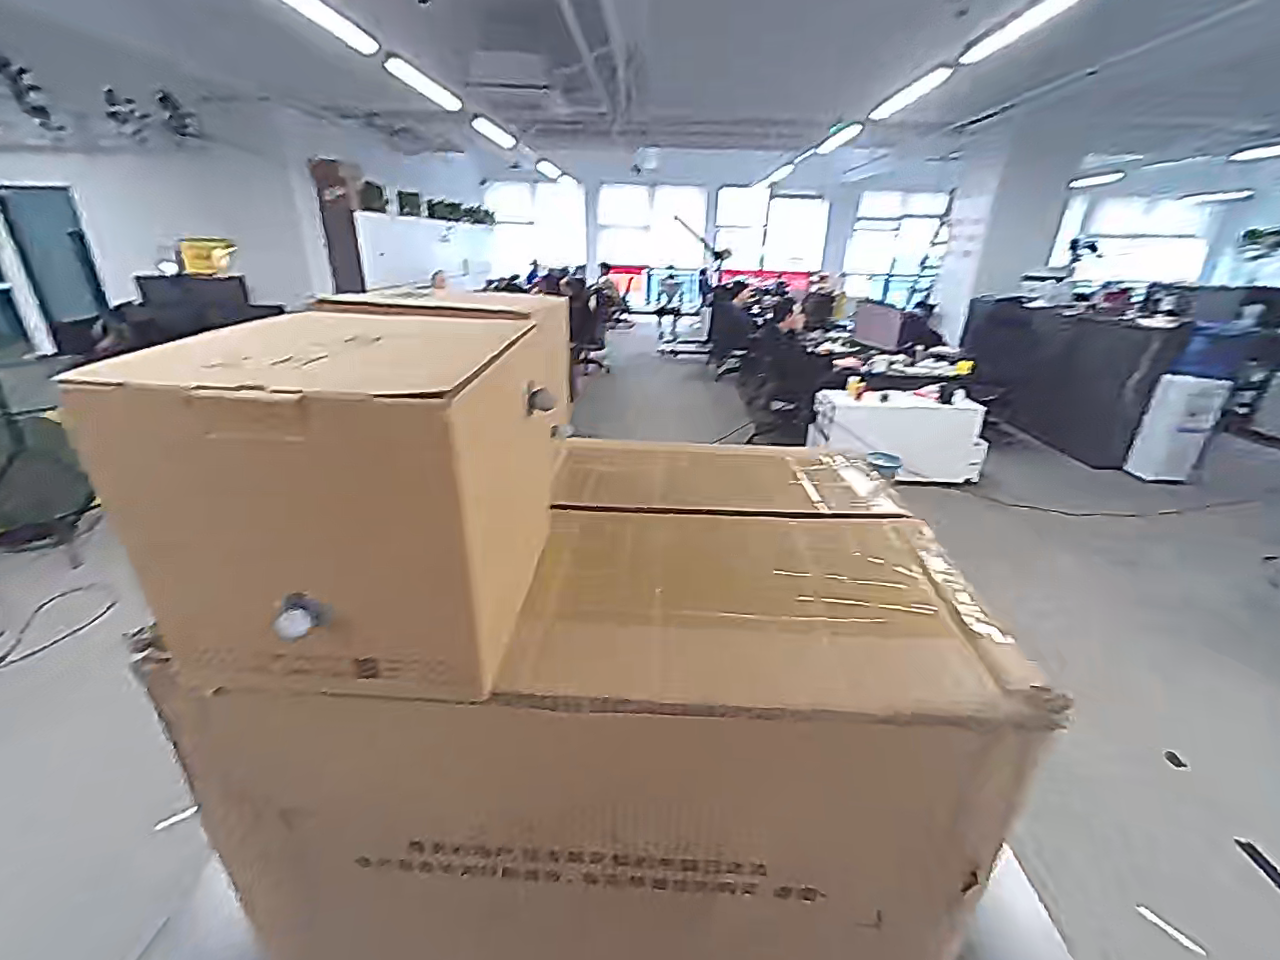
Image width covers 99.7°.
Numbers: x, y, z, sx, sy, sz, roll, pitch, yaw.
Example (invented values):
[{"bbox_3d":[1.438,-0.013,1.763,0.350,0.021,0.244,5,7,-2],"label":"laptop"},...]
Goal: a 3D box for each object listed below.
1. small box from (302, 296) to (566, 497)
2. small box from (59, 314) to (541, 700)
[{"bbox_3d":[-0.171,-0.080,0.509,0.179,0.176,0.168,3,22,2],"label":"small box"},{"bbox_3d":[-0.158,0.002,0.328,0.168,0.176,0.179,2,26,1],"label":"small box"}]
